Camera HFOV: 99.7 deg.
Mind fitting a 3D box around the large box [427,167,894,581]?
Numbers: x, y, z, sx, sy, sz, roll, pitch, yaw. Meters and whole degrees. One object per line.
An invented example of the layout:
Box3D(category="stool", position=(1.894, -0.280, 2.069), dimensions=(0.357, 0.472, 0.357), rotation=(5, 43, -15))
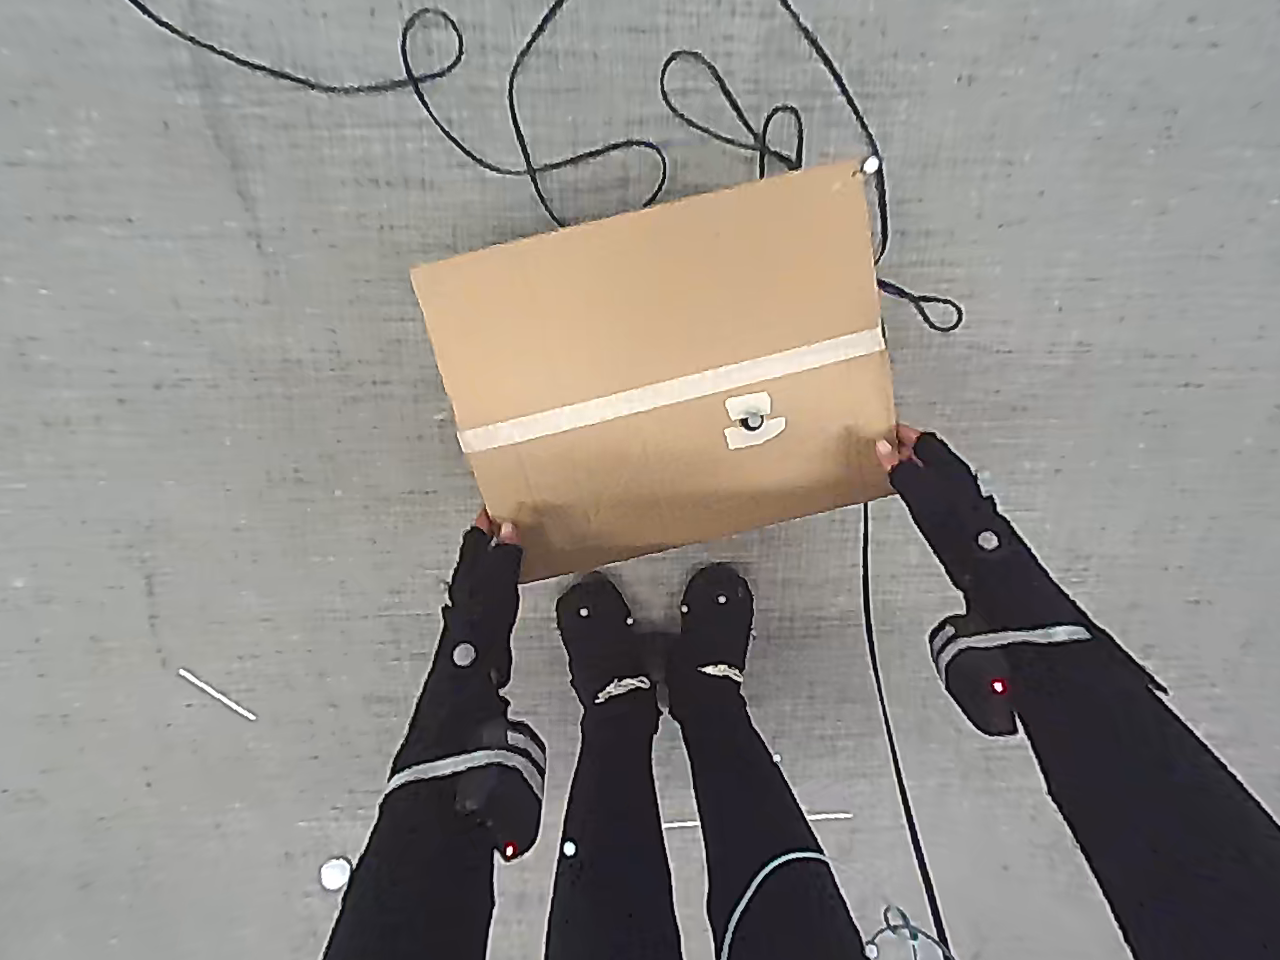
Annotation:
Box3D(category="large box", position=(0.024, -0.121, 0.663), dimensions=(0.408, 0.320, 0.320), rotation=(-14, 105, 0))
